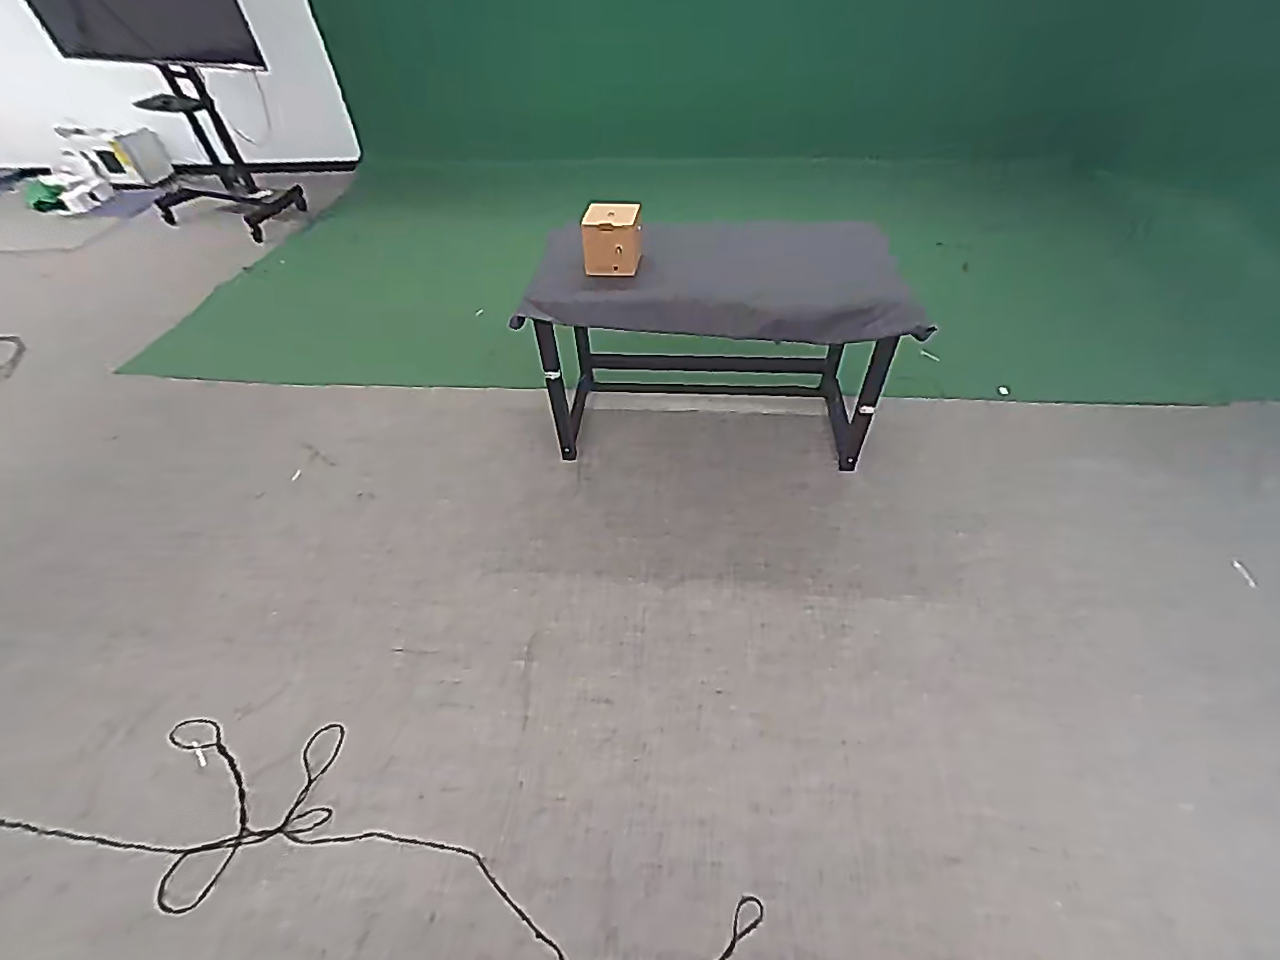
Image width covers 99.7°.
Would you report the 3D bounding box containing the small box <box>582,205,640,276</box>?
[{"bbox_3d":[-0.091,-0.795,1.797,0.168,0.176,0.179,5,47,5],"label":"small box"}]
